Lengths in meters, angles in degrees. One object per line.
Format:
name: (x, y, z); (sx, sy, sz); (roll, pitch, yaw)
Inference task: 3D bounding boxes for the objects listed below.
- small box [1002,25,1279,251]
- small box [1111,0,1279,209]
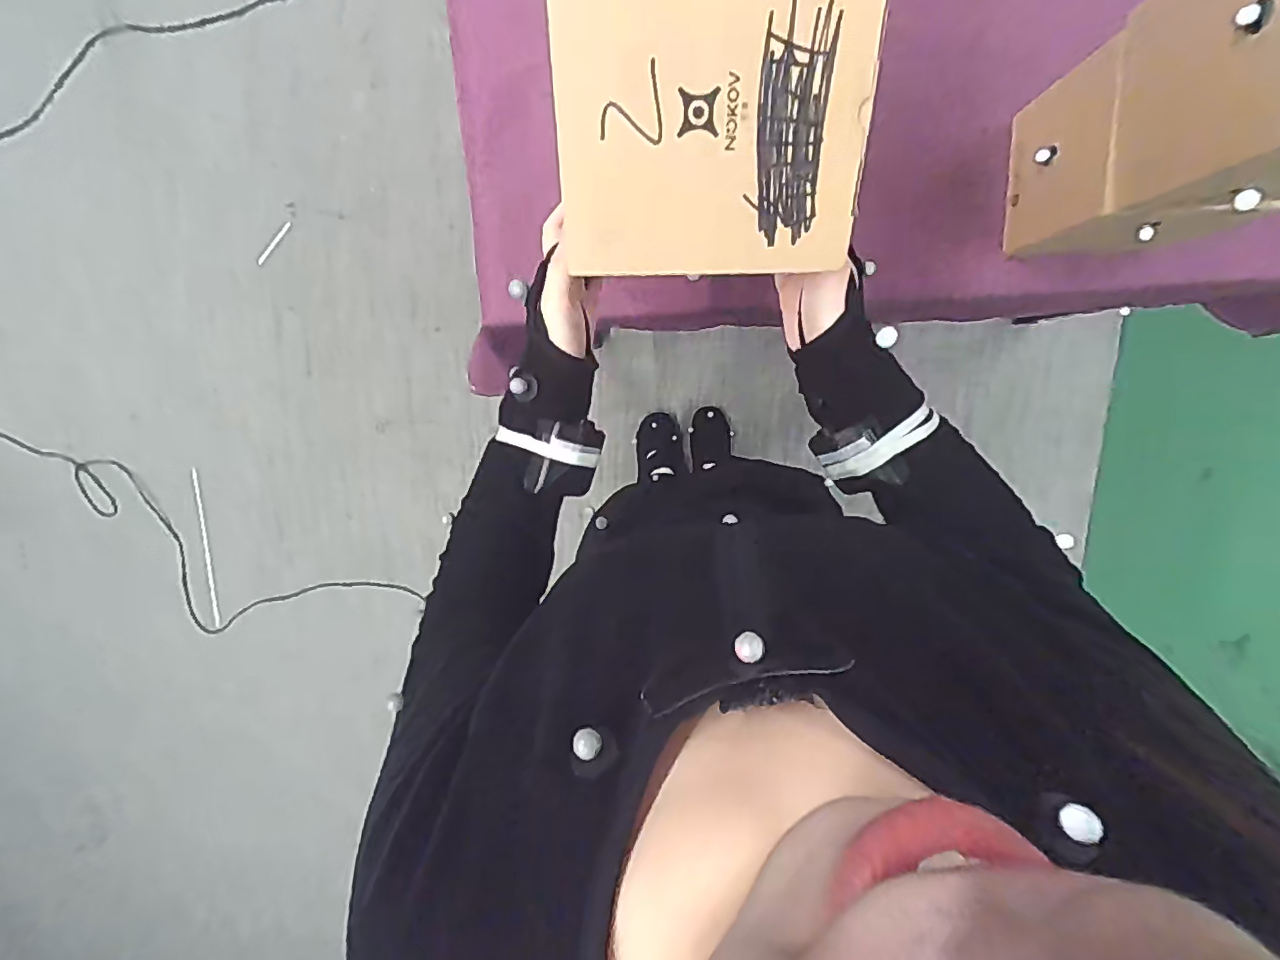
small box: (0.535, -0.357, 0.591); (0.179, 0.176, 0.168); (0, 100, 3)
small box: (0.525, -0.339, 0.428); (0.168, 0.176, 0.179); (-3, 100, 4)
